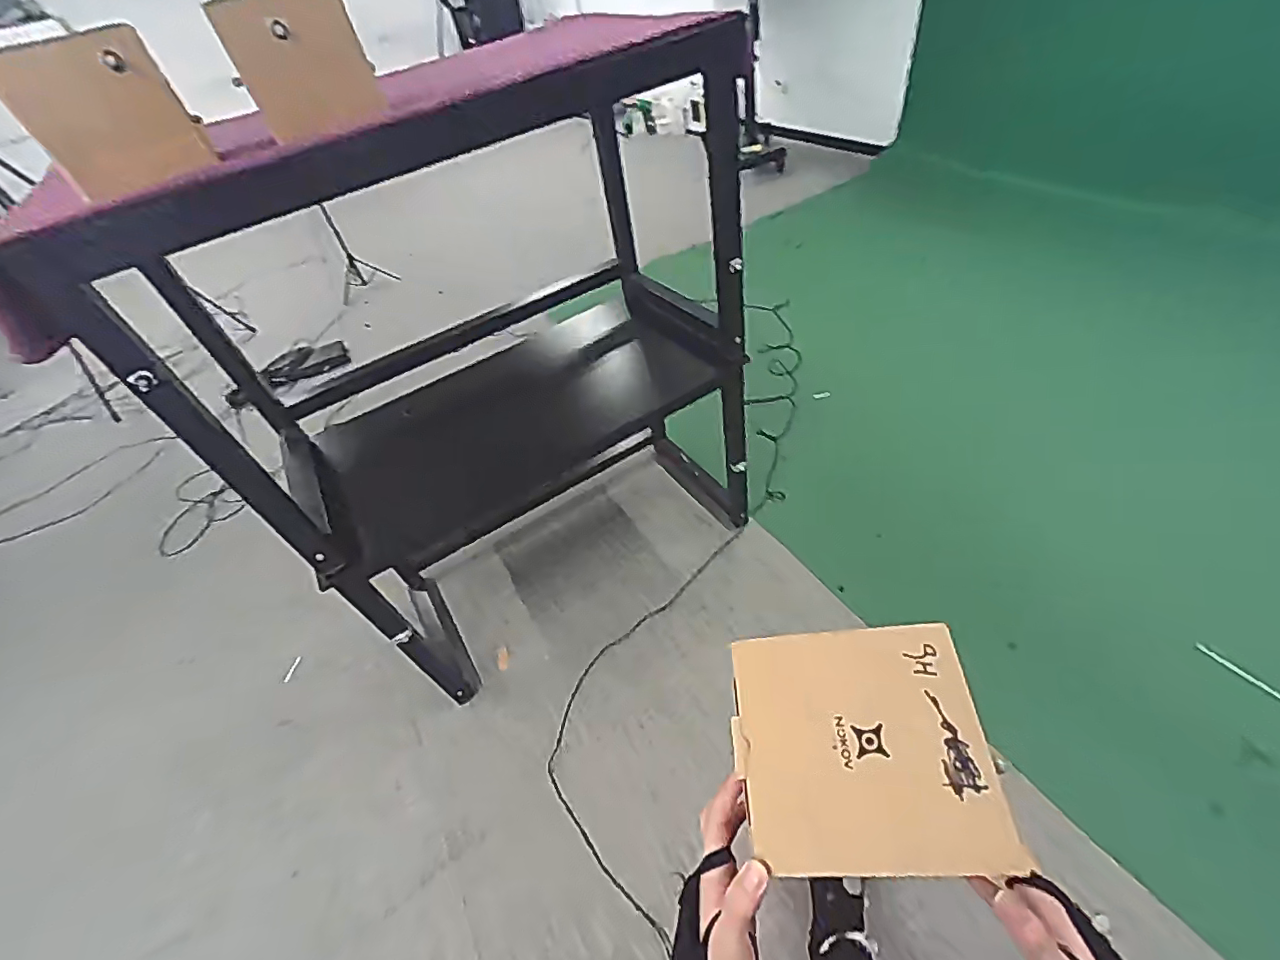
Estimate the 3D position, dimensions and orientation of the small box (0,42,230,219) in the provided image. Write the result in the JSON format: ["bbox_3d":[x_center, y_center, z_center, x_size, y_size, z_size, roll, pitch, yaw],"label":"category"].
[{"bbox_3d":[-0.735,-0.495,0.771,0.179,0.176,0.168,-32,47,-18],"label":"small box"}]

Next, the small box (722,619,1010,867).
[{"bbox_3d":[0.176,0.235,0.472,0.179,0.176,0.168,-9,55,12],"label":"small box"}]

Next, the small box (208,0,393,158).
[{"bbox_3d":[-0.518,-0.625,0.840,0.179,0.176,0.168,-28,46,-14],"label":"small box"}]
